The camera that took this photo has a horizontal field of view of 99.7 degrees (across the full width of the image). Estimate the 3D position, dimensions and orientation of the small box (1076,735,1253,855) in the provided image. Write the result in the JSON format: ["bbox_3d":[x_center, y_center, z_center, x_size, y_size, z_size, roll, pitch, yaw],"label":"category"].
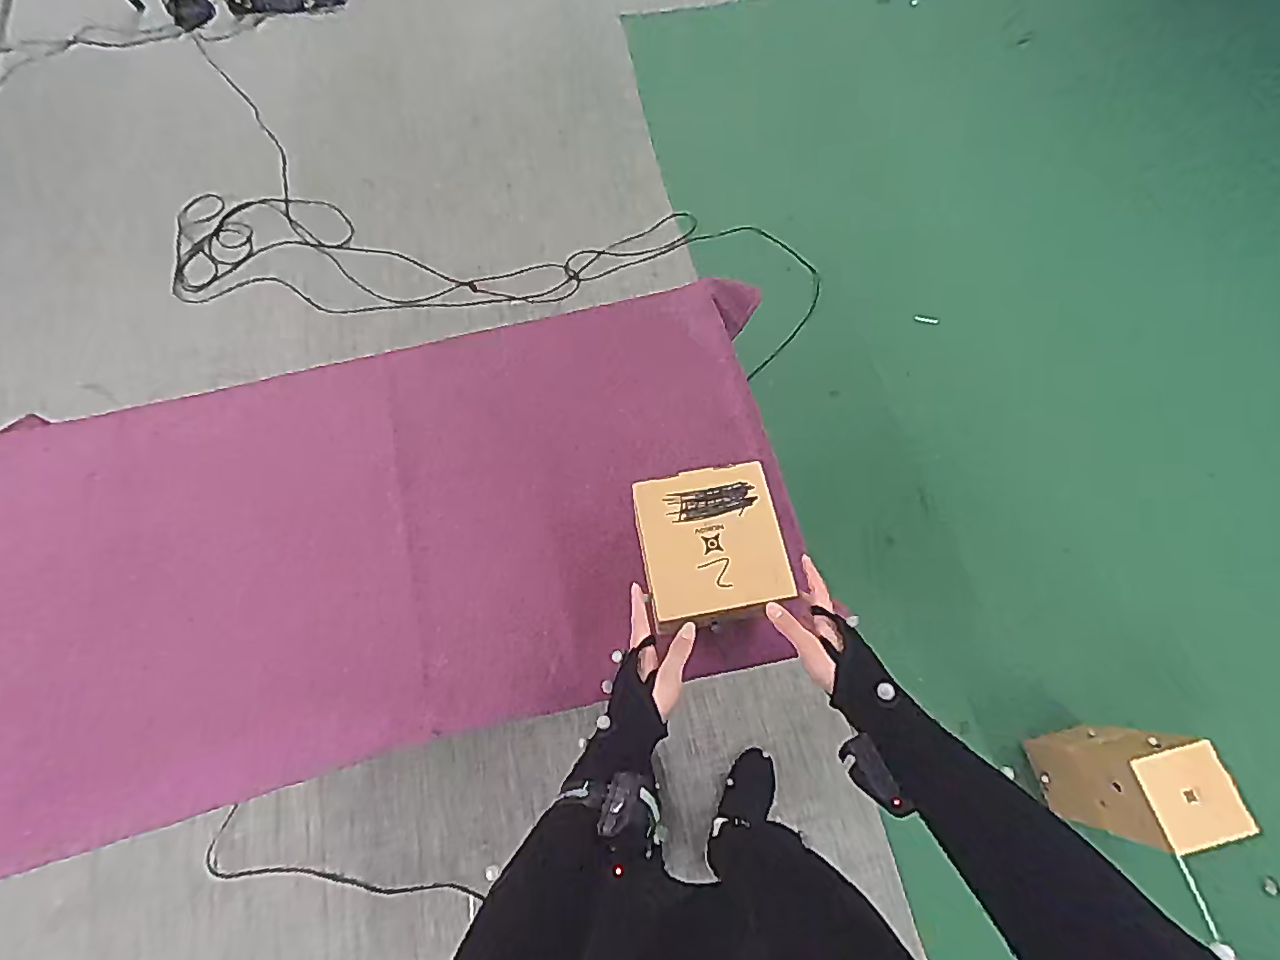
[{"bbox_3d":[1.058,0.639,1.116,0.179,0.176,0.168,-12,70,-5],"label":"small box"}]

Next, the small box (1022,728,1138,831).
[{"bbox_3d":[1.059,0.691,1.269,0.179,0.176,0.168,-12,70,-3],"label":"small box"}]
